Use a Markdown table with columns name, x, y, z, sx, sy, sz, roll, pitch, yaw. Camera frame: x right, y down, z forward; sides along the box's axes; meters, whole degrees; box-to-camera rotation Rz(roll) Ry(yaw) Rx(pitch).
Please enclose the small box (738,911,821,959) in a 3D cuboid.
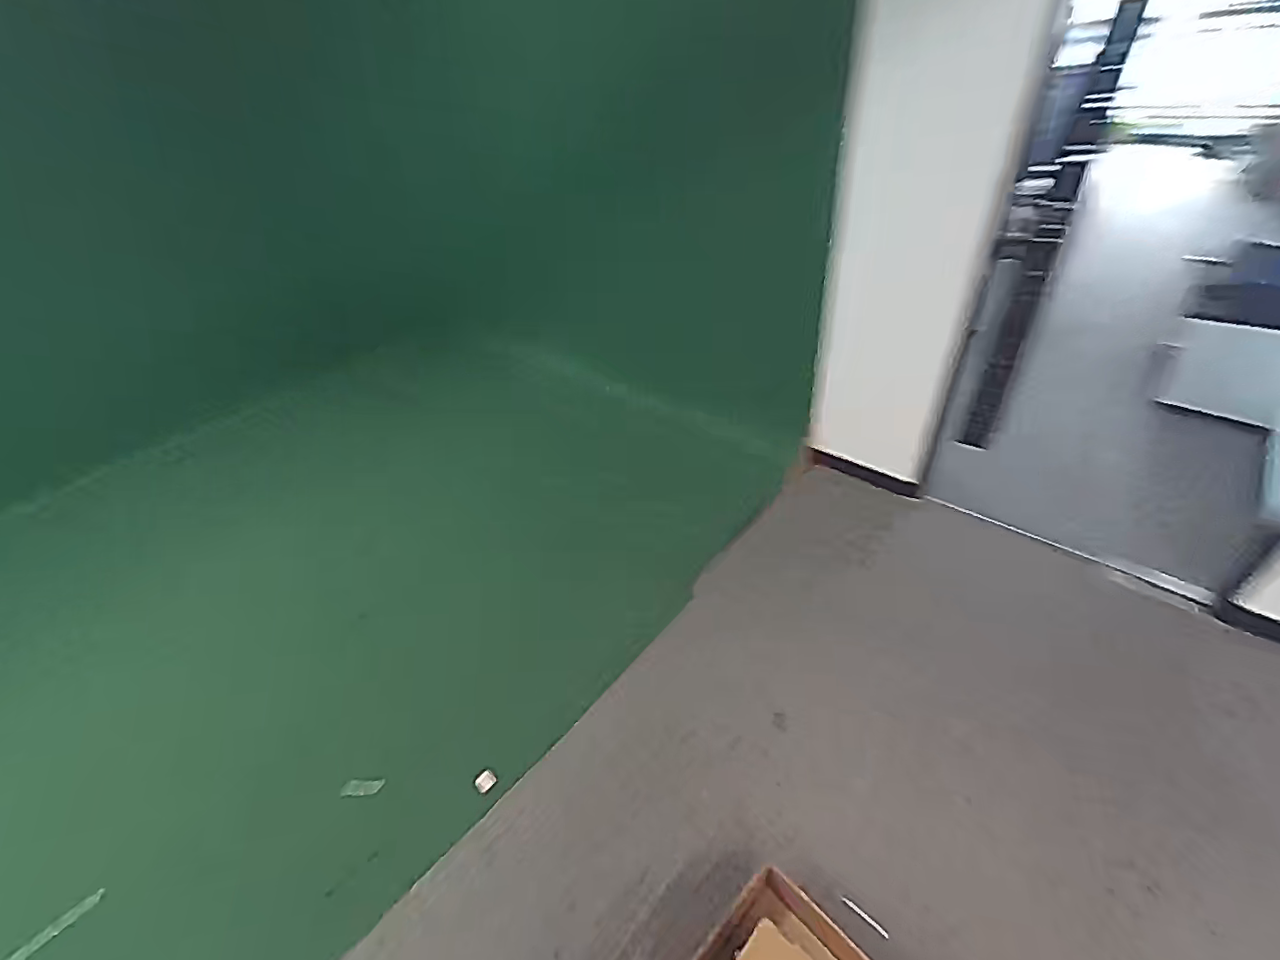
| name | x | y | z | sx | sy | sz | roll | pitch | yaw |
| --- | --- | --- | --- | --- | --- | --- | --- | --- | --- |
| small box | 0.243 | 0.921 | 0.949 | 0.179 | 0.176 | 0.168 | -36 | 47 | -30 |
